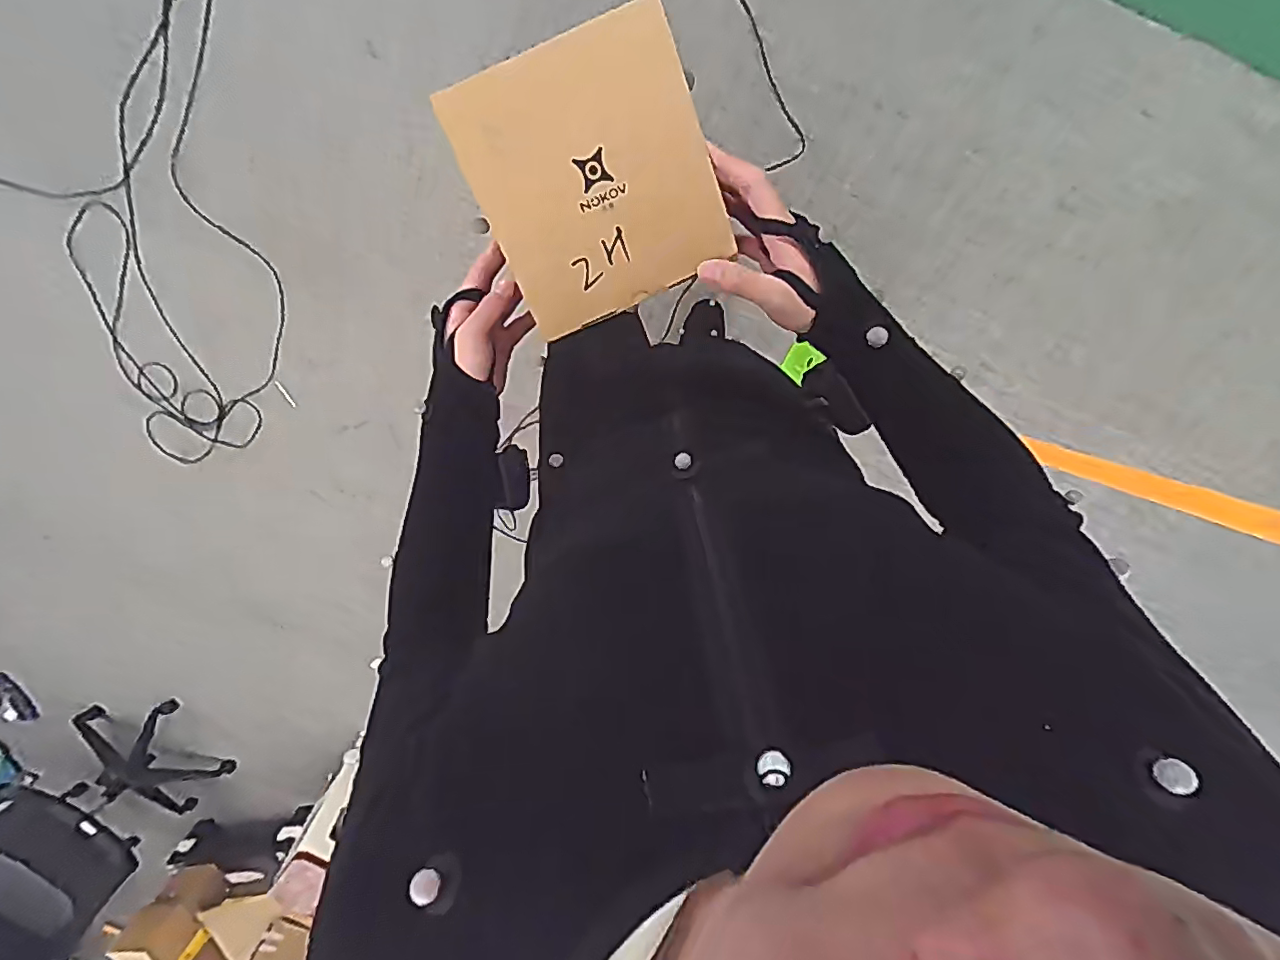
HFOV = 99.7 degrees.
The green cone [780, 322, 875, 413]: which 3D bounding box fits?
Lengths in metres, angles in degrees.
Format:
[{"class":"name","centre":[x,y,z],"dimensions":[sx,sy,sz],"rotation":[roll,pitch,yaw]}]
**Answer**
[{"class":"green cone","centre":[0.496,-0.245,1.318],"dimensions":[0.202,0.368,0.200],"rotation":[24,111,-4]}]
